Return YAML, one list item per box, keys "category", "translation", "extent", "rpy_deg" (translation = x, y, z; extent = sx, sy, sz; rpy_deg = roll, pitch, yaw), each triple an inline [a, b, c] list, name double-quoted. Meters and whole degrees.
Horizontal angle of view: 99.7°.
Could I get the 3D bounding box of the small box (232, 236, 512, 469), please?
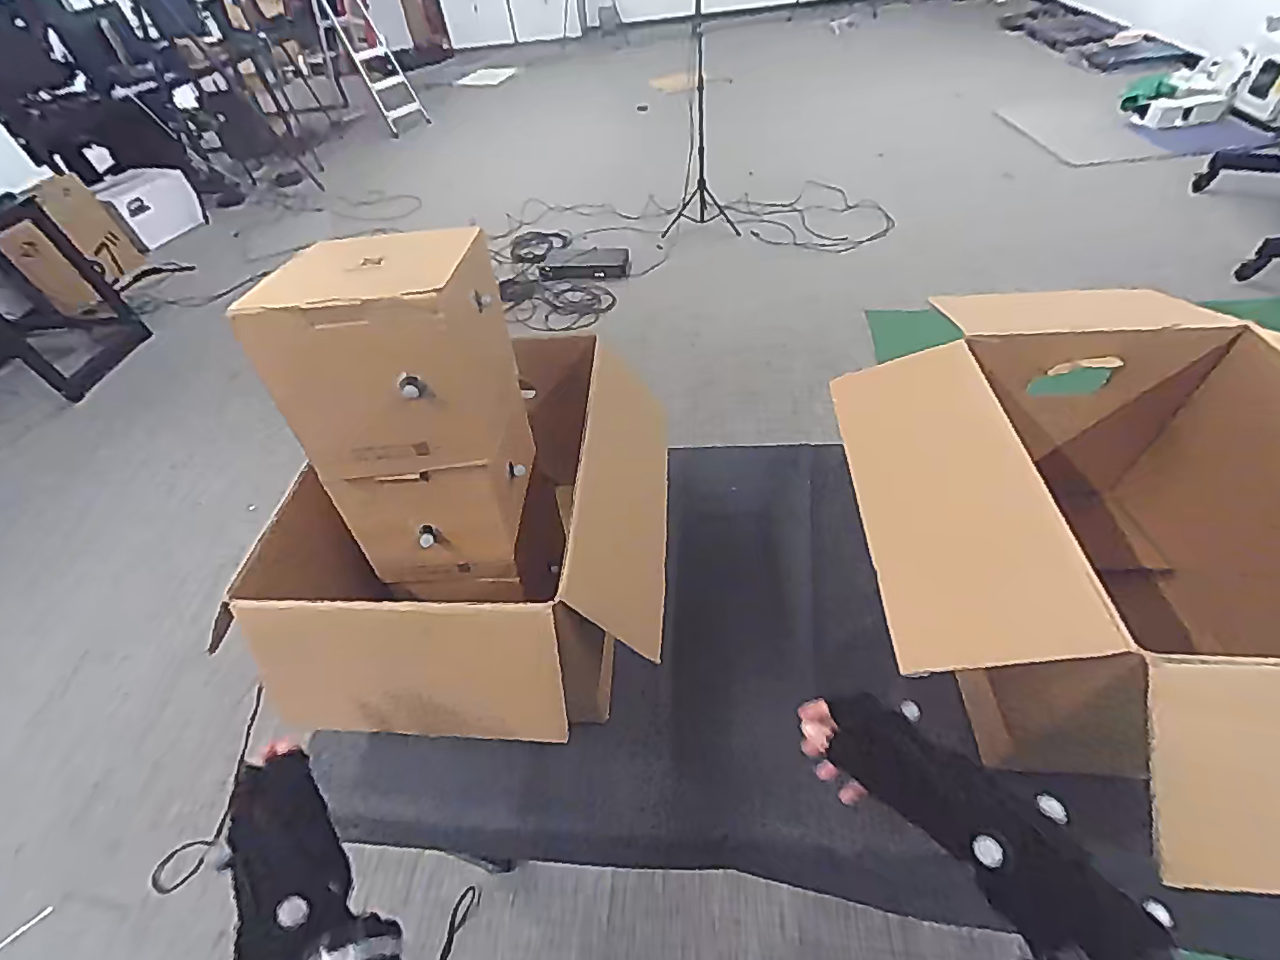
- category: "small box"
  translation: [-0.233, -0.121, 0.530]
  extent: [0.168, 0.176, 0.179]
  rpy_deg: [-4, 39, 1]
